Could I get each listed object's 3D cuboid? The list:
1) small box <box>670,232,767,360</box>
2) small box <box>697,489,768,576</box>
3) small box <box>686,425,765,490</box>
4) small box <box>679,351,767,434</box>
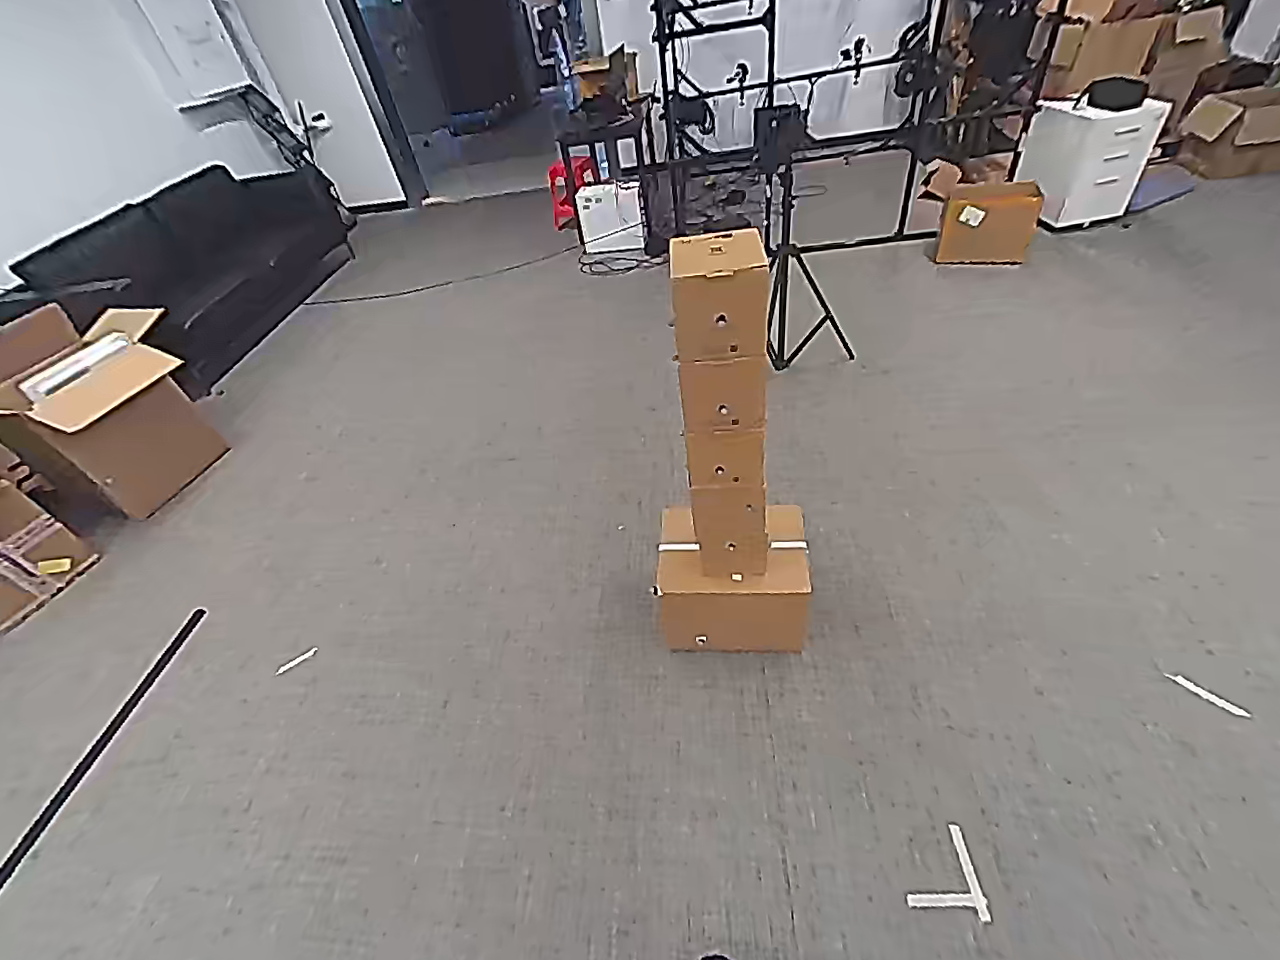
[{"bbox_3d":[0.146,-0.337,1.012,0.168,0.176,0.179,-4,45,7],"label":"small box"},{"bbox_3d":[0.246,0.144,1.445,0.179,0.176,0.168,-3,45,7],"label":"small box"},{"bbox_3d":[0.192,-0.097,1.231,0.168,0.176,0.179,-3,45,8],"label":"small box"},{"bbox_3d":[0.168,-0.217,1.121,0.168,0.176,0.179,-5,45,8],"label":"small box"}]
